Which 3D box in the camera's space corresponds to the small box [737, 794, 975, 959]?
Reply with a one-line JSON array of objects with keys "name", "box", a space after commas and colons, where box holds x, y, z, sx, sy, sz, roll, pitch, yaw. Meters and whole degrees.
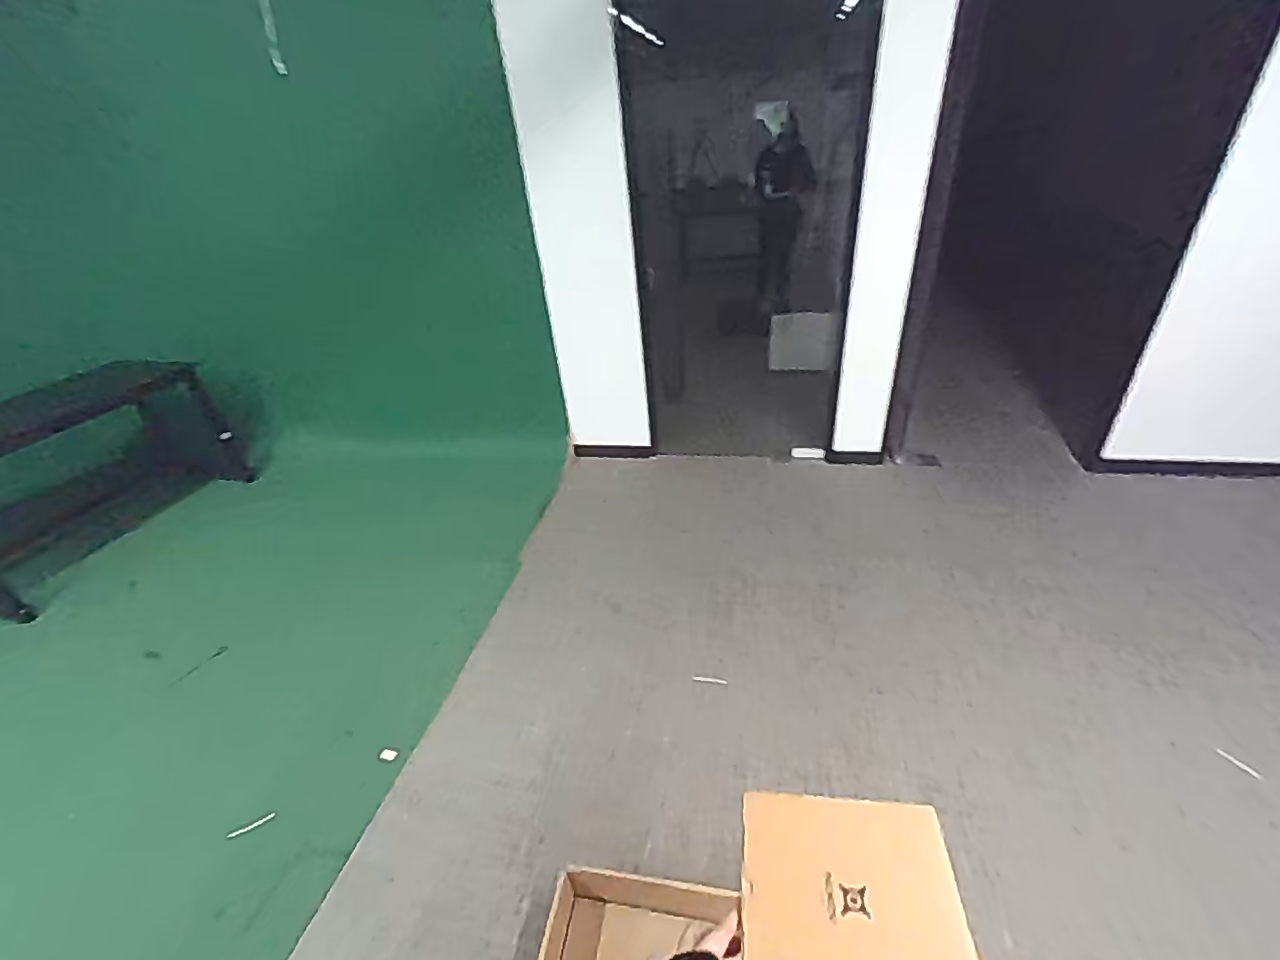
[{"name": "small box", "box": [0.181, 0.415, 0.484, 0.179, 0.176, 0.168, -5, 29, 12]}]
